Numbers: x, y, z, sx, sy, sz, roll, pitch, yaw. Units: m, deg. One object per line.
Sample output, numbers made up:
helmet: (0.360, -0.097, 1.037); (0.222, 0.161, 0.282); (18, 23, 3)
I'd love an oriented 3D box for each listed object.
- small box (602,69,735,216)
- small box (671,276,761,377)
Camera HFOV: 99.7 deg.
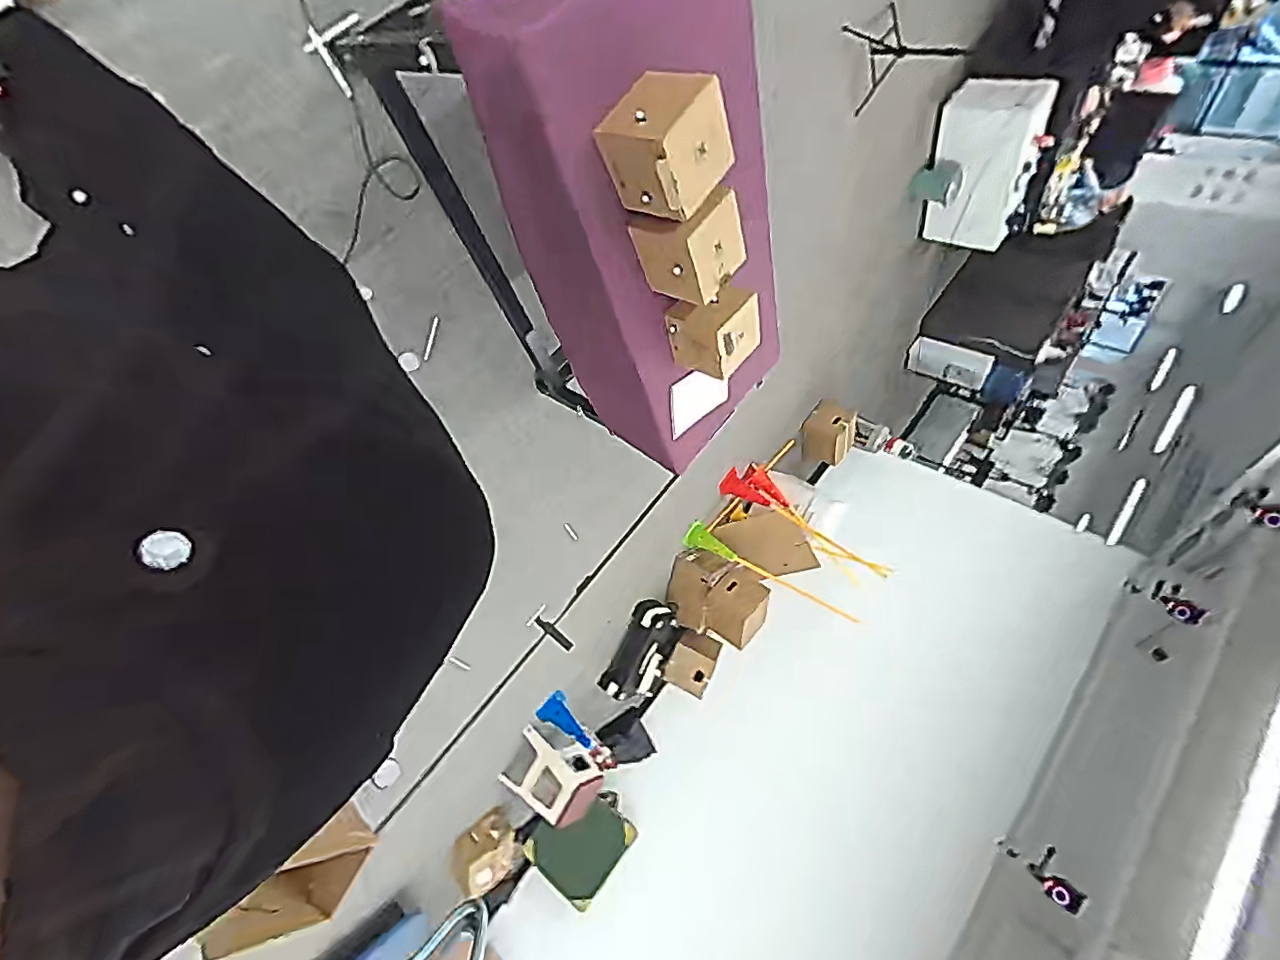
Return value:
small box: (0.050, -0.639, 1.027); (0.179, 0.176, 0.168); (-54, 148, -11)
small box: (0.194, -0.404, 1.411); (0.179, 0.176, 0.168); (-48, 146, -20)
